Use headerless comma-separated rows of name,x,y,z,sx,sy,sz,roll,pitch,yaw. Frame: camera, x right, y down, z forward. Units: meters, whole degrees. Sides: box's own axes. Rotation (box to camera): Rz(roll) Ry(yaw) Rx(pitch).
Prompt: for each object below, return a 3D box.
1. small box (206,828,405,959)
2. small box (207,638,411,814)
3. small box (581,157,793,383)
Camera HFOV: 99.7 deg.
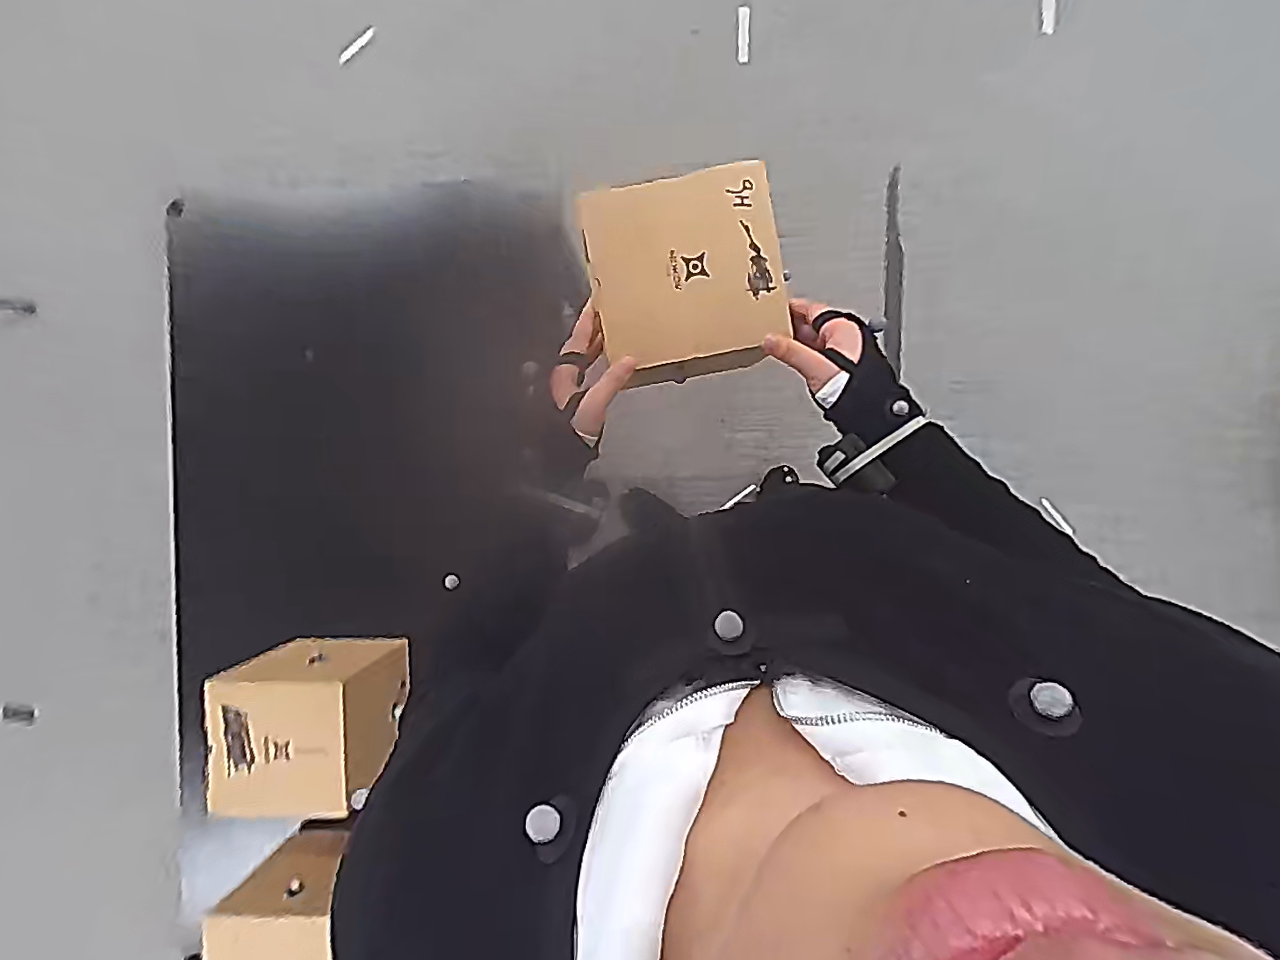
small box,-0.438,0.607,0.738,0.179,0.176,0.168,-3,89,4
small box,-0.434,0.320,0.732,0.179,0.176,0.168,-2,91,2
small box,0.044,-0.203,0.573,0.179,0.176,0.168,-10,94,0
